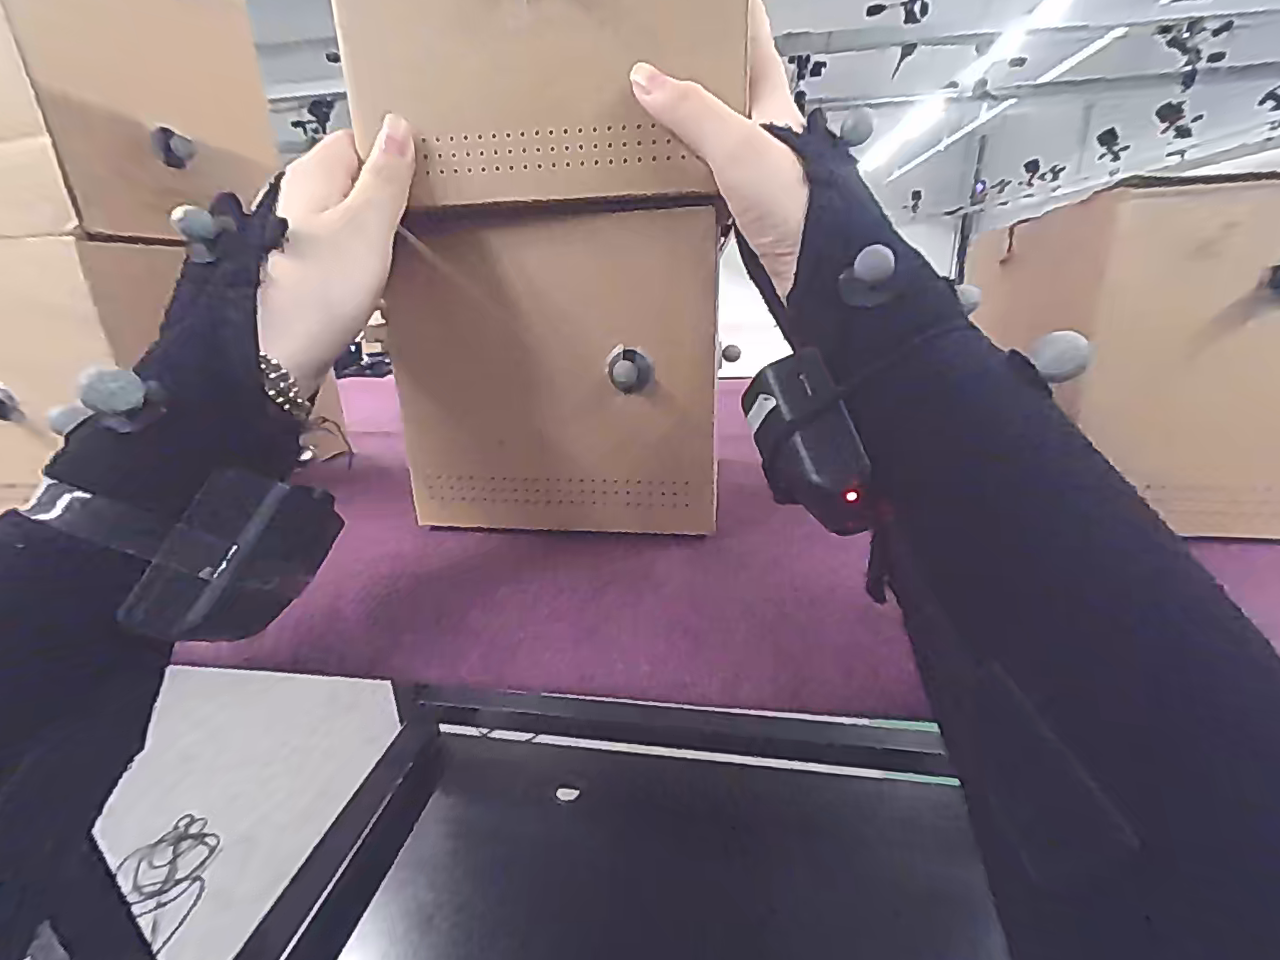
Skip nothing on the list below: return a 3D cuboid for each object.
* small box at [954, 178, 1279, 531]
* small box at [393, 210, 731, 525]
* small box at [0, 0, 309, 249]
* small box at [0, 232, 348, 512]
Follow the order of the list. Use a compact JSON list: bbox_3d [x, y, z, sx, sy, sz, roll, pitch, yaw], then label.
[{"bbox_3d":[0.316,-0.073,0.334,0.179,0.176,0.168,2,17,10],"label":"small box"},{"bbox_3d":[-0.031,-0.074,0.368,0.179,0.176,0.168,1,16,8],"label":"small box"},{"bbox_3d":[-0.358,-0.236,0.349,0.179,0.176,0.168,2,20,5],"label":"small box"},{"bbox_3d":[-0.350,-0.083,0.403,0.168,0.176,0.179,3,19,7],"label":"small box"}]
